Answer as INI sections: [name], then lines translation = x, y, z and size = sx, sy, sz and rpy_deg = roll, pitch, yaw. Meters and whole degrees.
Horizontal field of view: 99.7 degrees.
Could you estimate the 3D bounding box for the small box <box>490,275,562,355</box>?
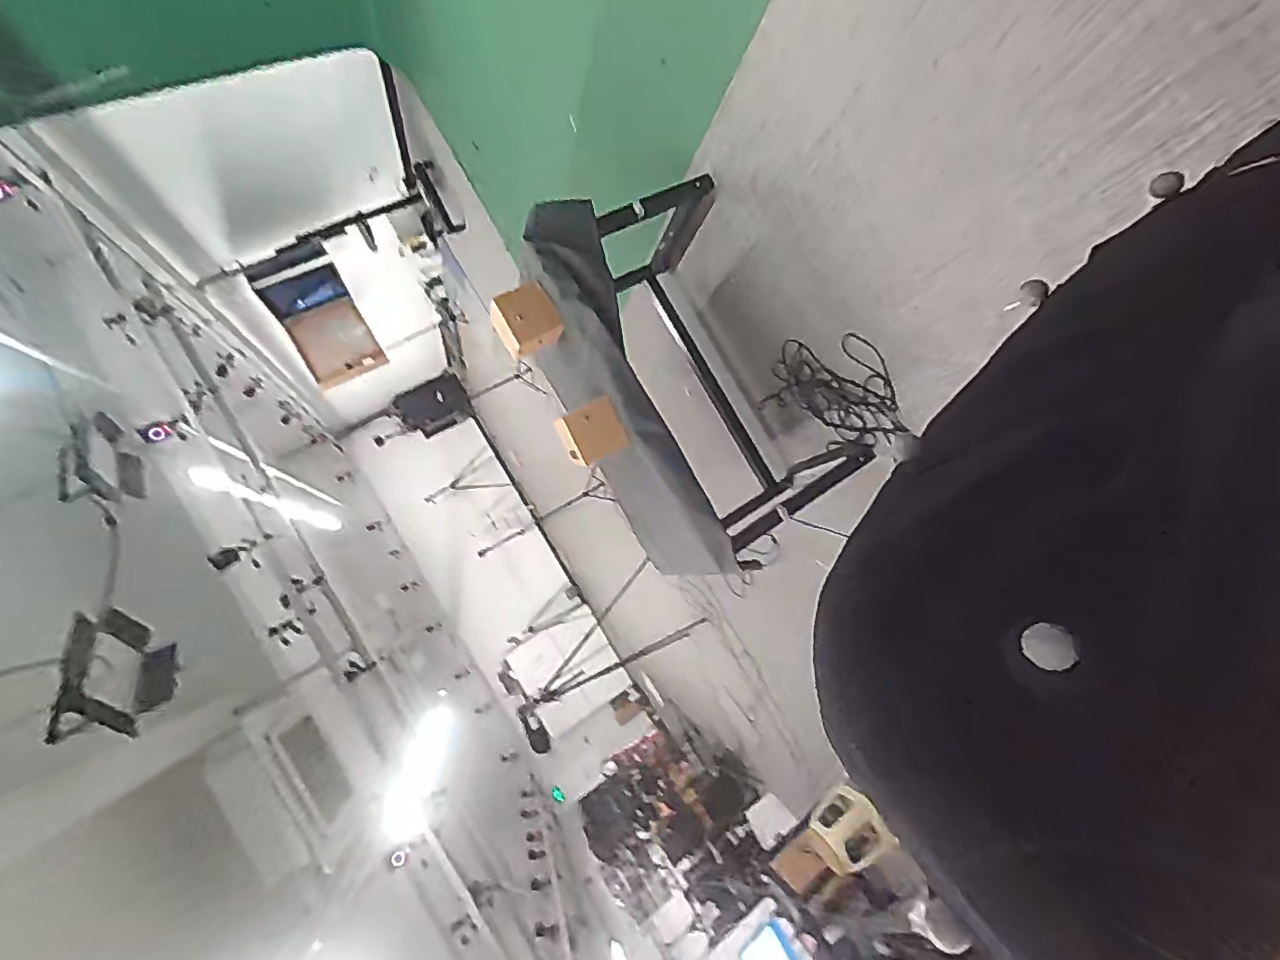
[small box]
translation = -0.378, -0.548, 1.793
size = 0.179, 0.176, 0.168
rpy_deg = 62, 161, -4
